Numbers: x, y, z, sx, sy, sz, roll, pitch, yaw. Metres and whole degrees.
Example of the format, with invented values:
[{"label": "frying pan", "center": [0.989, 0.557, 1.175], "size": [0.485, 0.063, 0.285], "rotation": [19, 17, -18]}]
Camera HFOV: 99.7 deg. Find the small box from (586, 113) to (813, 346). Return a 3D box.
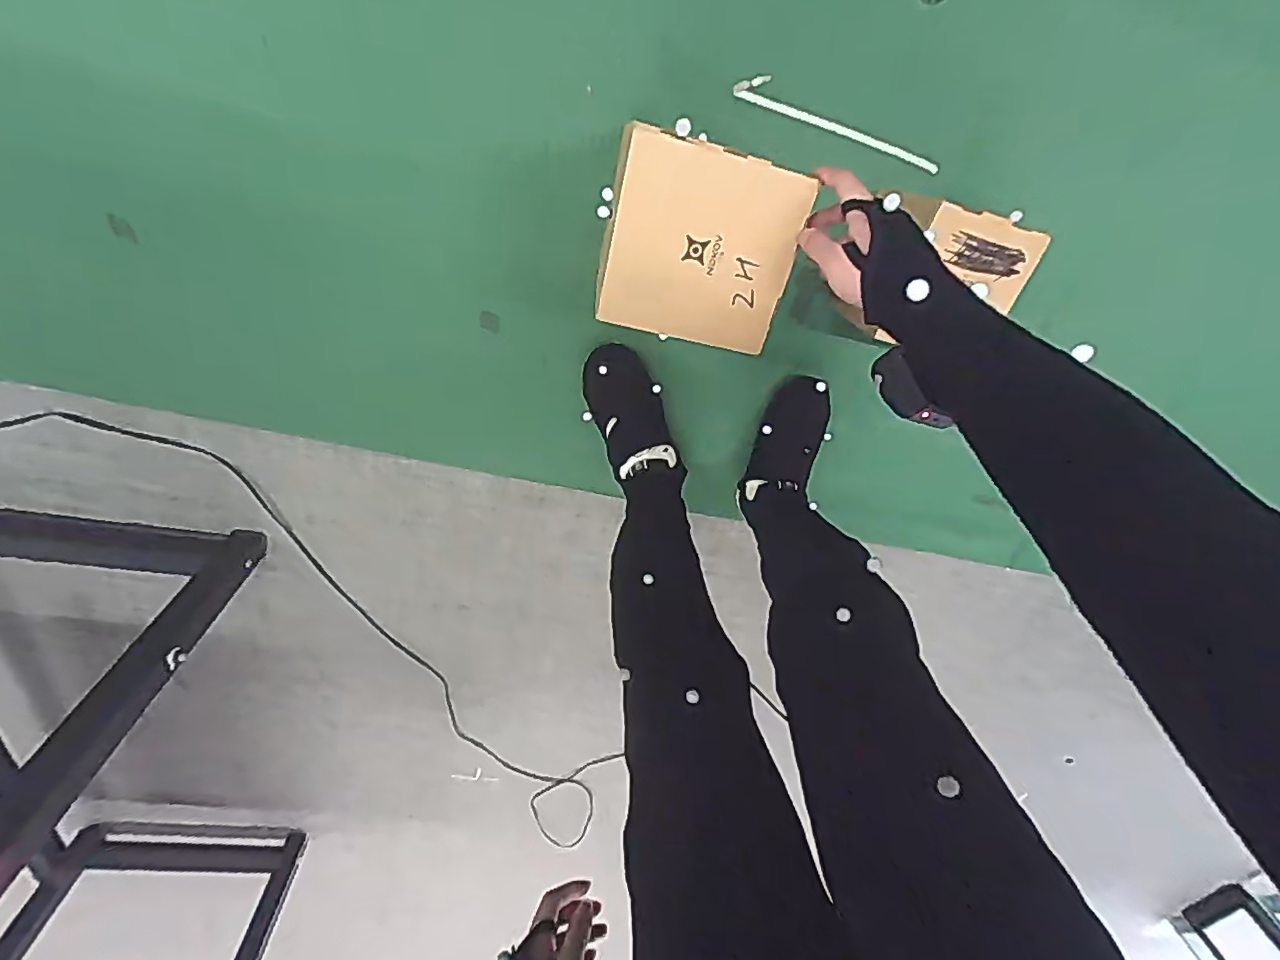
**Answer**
[{"label": "small box", "center": [0.045, -0.261, 0.568], "size": [0.179, 0.176, 0.168], "rotation": [10, 121, -11]}]
